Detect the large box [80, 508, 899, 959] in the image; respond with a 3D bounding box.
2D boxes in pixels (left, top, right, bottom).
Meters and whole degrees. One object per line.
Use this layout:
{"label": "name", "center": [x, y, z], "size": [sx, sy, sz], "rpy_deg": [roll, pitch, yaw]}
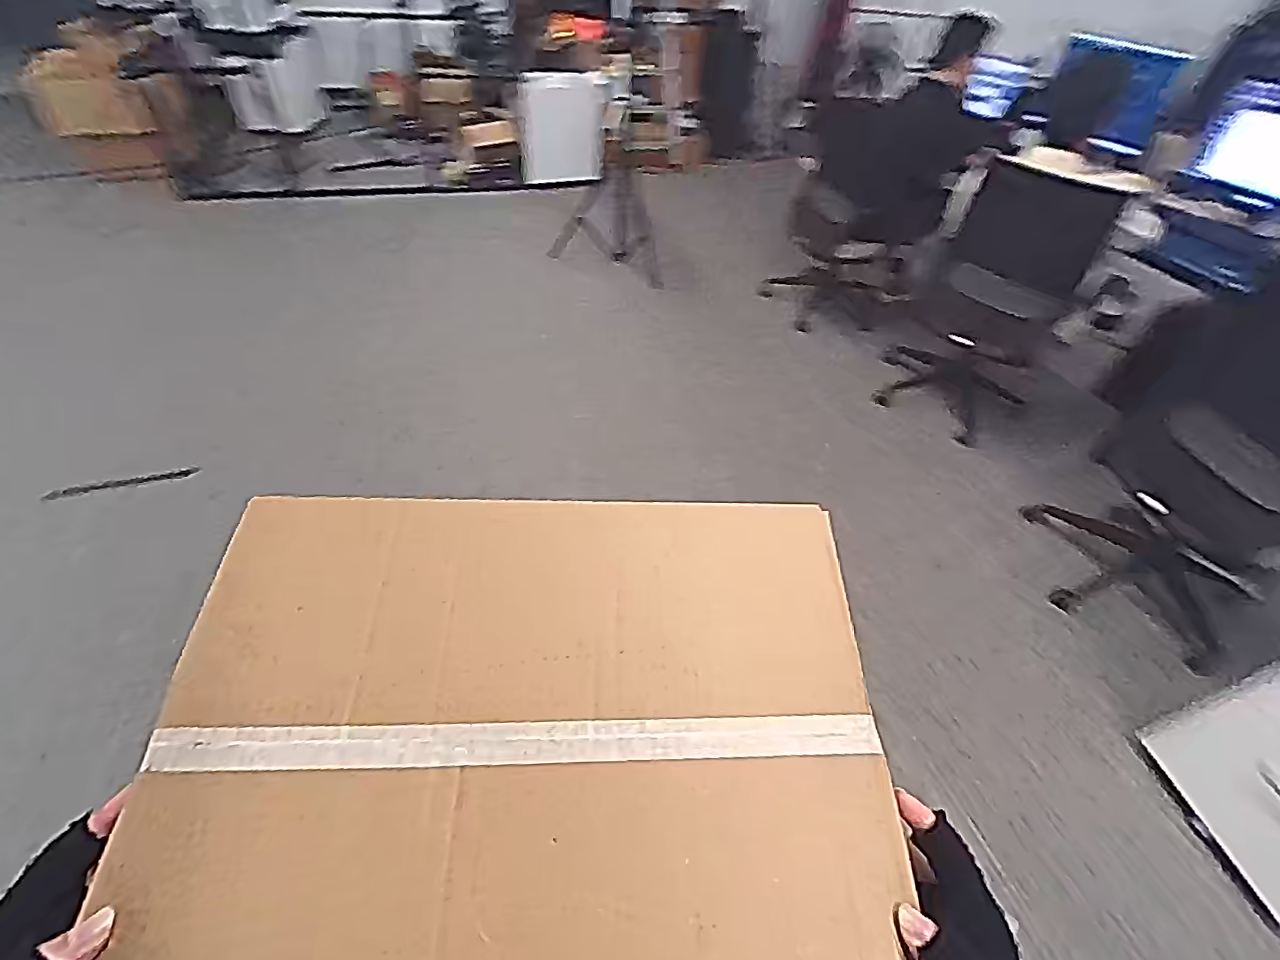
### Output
{"label": "large box", "center": [-0.079, 0.231, 0.441], "size": [0.408, 0.320, 0.320], "rpy_deg": [0, 58, -5]}
